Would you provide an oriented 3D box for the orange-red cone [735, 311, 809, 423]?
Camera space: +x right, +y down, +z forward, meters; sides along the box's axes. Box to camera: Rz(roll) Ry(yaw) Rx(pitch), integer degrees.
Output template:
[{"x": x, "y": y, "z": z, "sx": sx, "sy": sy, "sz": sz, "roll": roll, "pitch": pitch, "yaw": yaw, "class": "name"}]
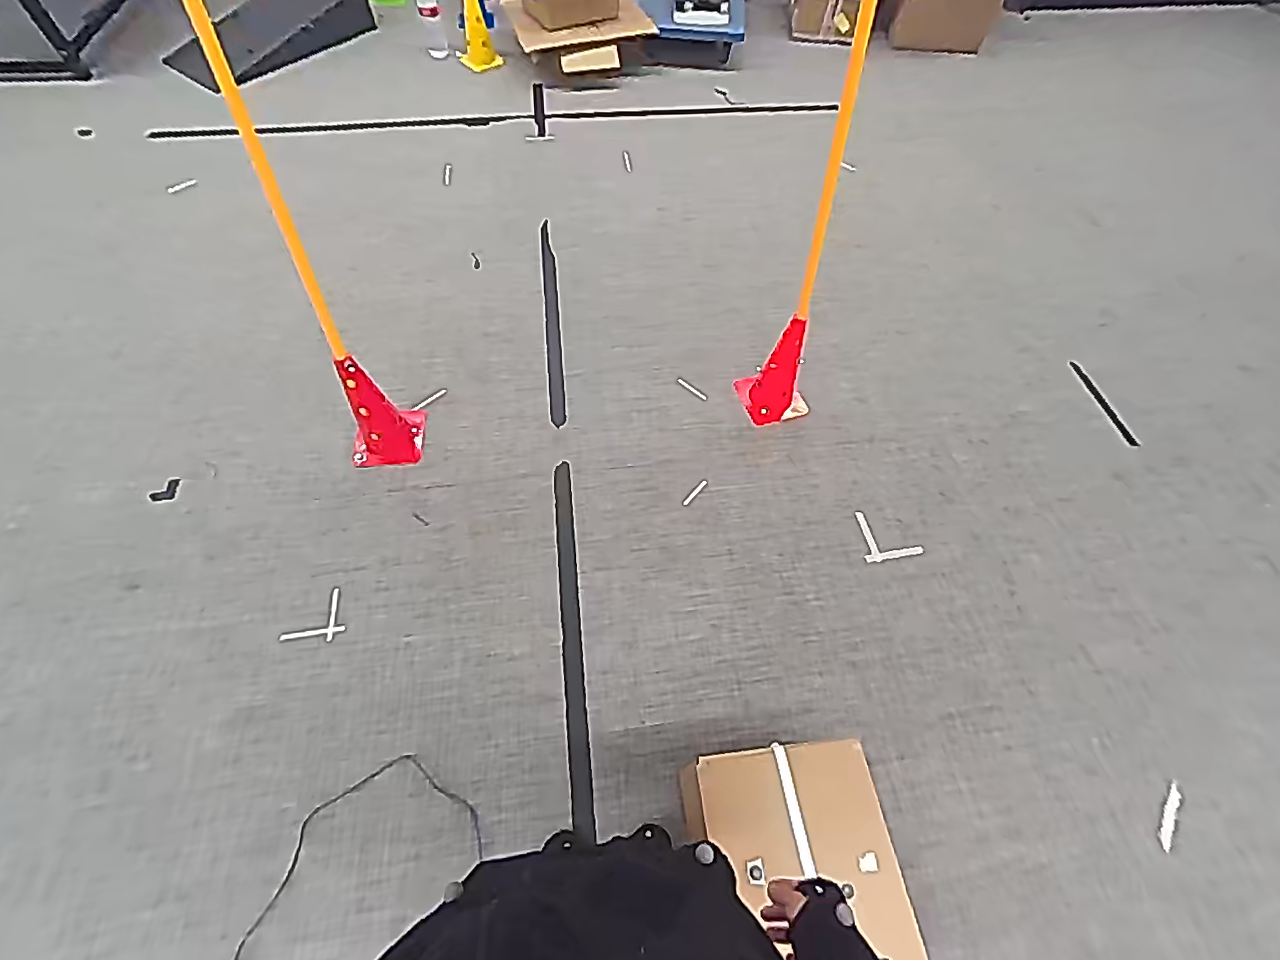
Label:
[{"x": 0.438, "y": -0.363, "z": 1.629, "sx": 0.199, "sy": 0.360, "sz": 0.198, "roll": -13, "pitch": 61, "yaw": -11, "class": "orange-red cone"}]
